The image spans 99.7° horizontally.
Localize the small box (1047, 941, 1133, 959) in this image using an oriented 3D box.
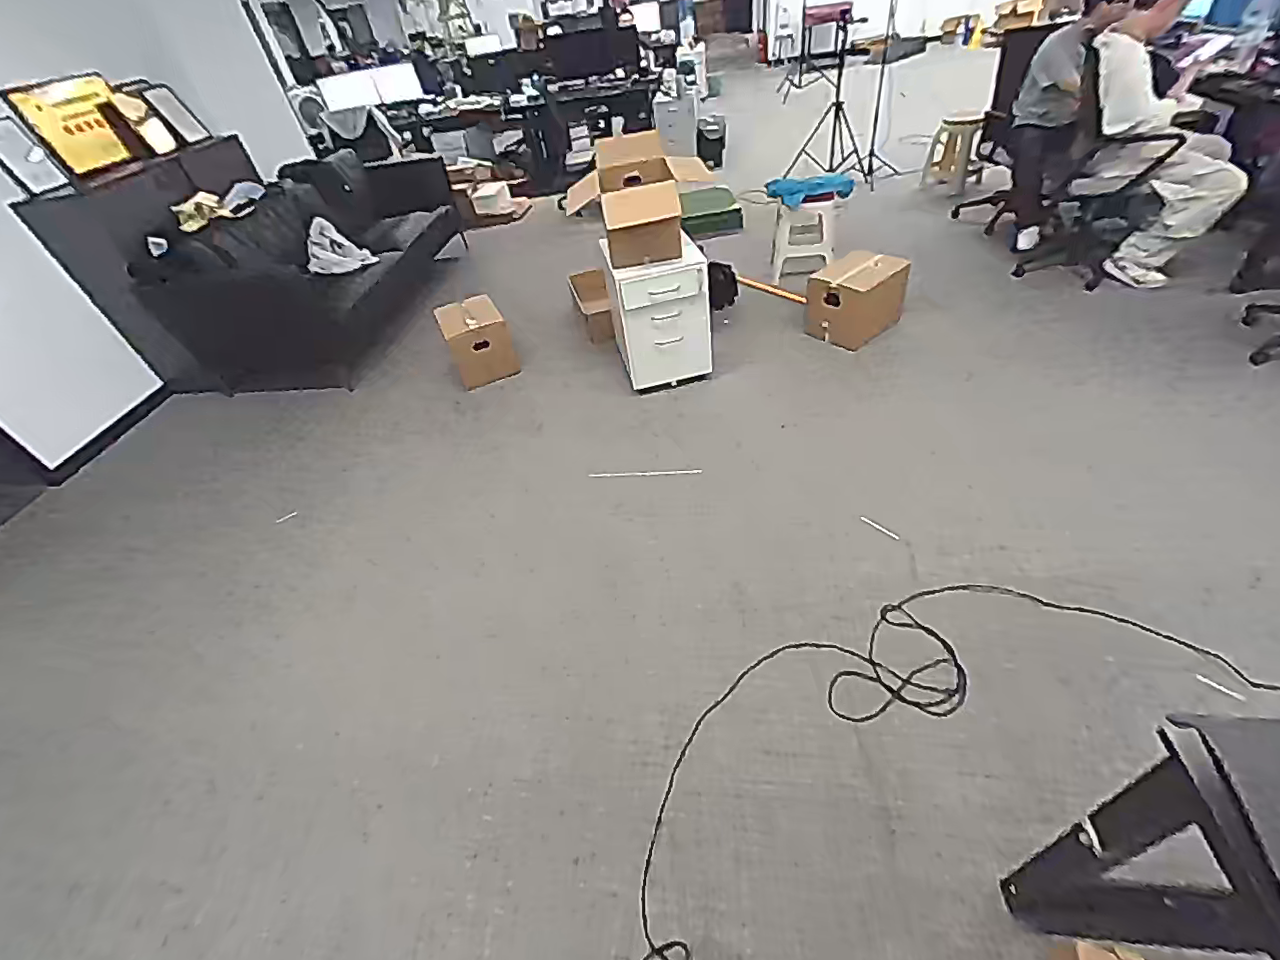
[{"bbox_3d":[0.822,0.935,0.917,0.168,0.176,0.179,7,44,19],"label":"small box"}]
